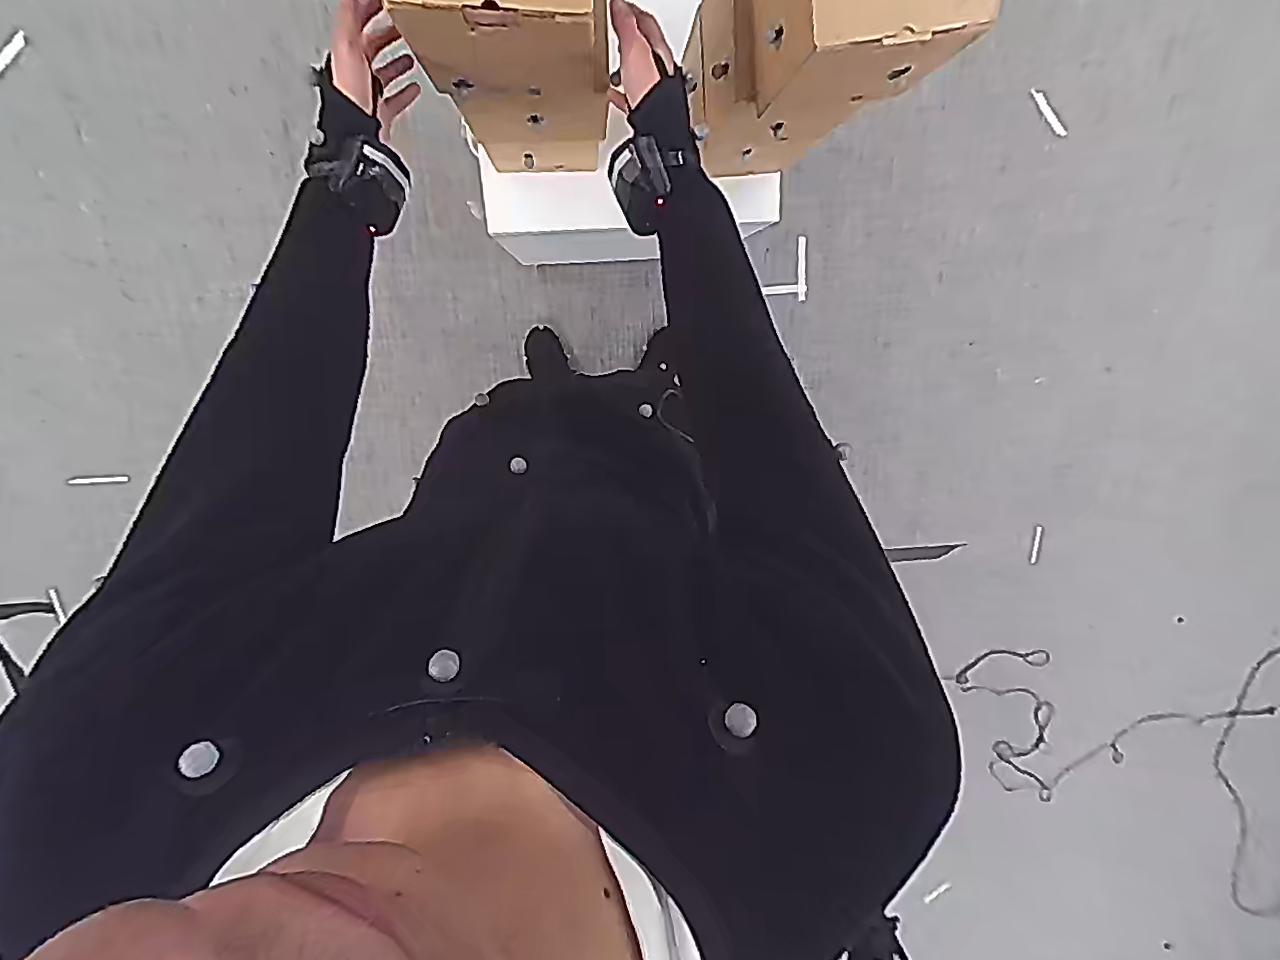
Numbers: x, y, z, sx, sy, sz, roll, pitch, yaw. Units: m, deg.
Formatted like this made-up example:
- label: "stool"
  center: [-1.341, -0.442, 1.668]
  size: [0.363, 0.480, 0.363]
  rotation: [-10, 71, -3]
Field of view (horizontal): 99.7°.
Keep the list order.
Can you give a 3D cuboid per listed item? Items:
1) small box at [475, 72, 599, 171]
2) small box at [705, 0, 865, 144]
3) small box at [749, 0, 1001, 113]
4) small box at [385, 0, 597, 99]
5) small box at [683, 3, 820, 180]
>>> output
- label: "small box"
  center: [-0.146, -0.566, 0.791]
  size: [0.168, 0.176, 0.179]
  rotation: [-4, 106, -5]
- label: "small box"
  center: [0.176, -0.530, 0.660]
  size: [0.168, 0.176, 0.179]
  rotation: [-5, 107, -3]
- label: "small box"
  center: [0.206, -0.474, 0.508]
  size: [0.168, 0.176, 0.179]
  rotation: [-10, 107, -3]
- label: "small box"
  center: [-0.121, -0.468, 0.478]
  size: [0.168, 0.176, 0.179]
  rotation: [-1, 105, -6]
- label: "small box"
  center: [0.161, -0.576, 0.817]
  size: [0.168, 0.176, 0.179]
  rotation: [-6, 107, -3]
